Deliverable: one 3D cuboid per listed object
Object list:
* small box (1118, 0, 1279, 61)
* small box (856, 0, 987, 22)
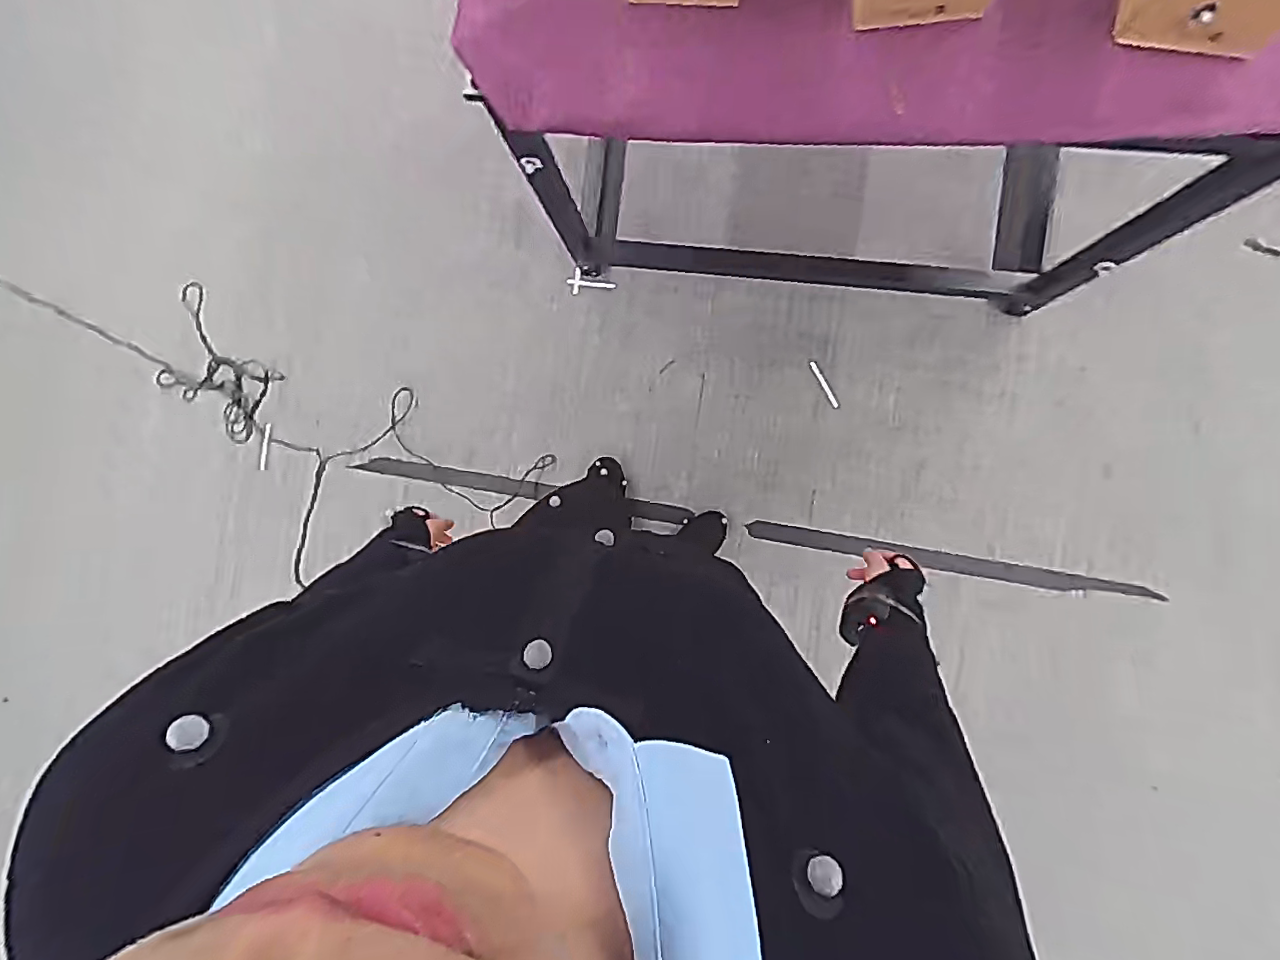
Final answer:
[{"bbox_3d":[0.704,-0.638,0.617,0.168,0.176,0.179,12,90,6],"label":"small box"},{"bbox_3d":[0.366,-0.700,0.652,0.168,0.176,0.179,-1,89,5],"label":"small box"}]
